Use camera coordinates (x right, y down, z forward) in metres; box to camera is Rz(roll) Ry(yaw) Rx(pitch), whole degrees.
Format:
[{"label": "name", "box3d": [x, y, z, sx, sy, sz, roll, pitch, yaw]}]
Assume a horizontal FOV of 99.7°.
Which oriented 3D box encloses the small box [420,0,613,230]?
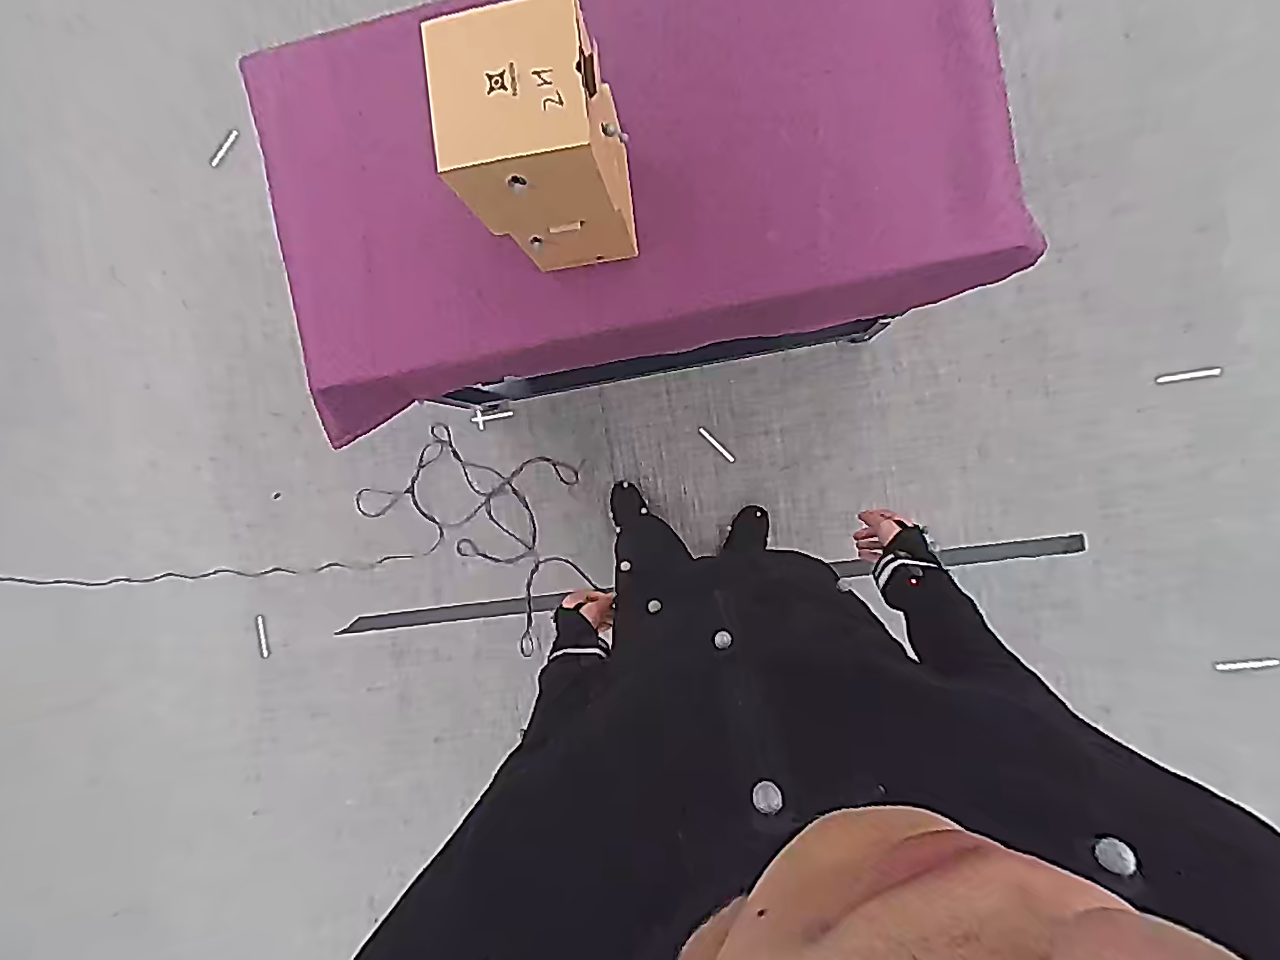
[{"label": "small box", "box3d": [-0.138, -0.428, 0.660, 0.179, 0.176, 0.168, -6, 91, 7]}]
